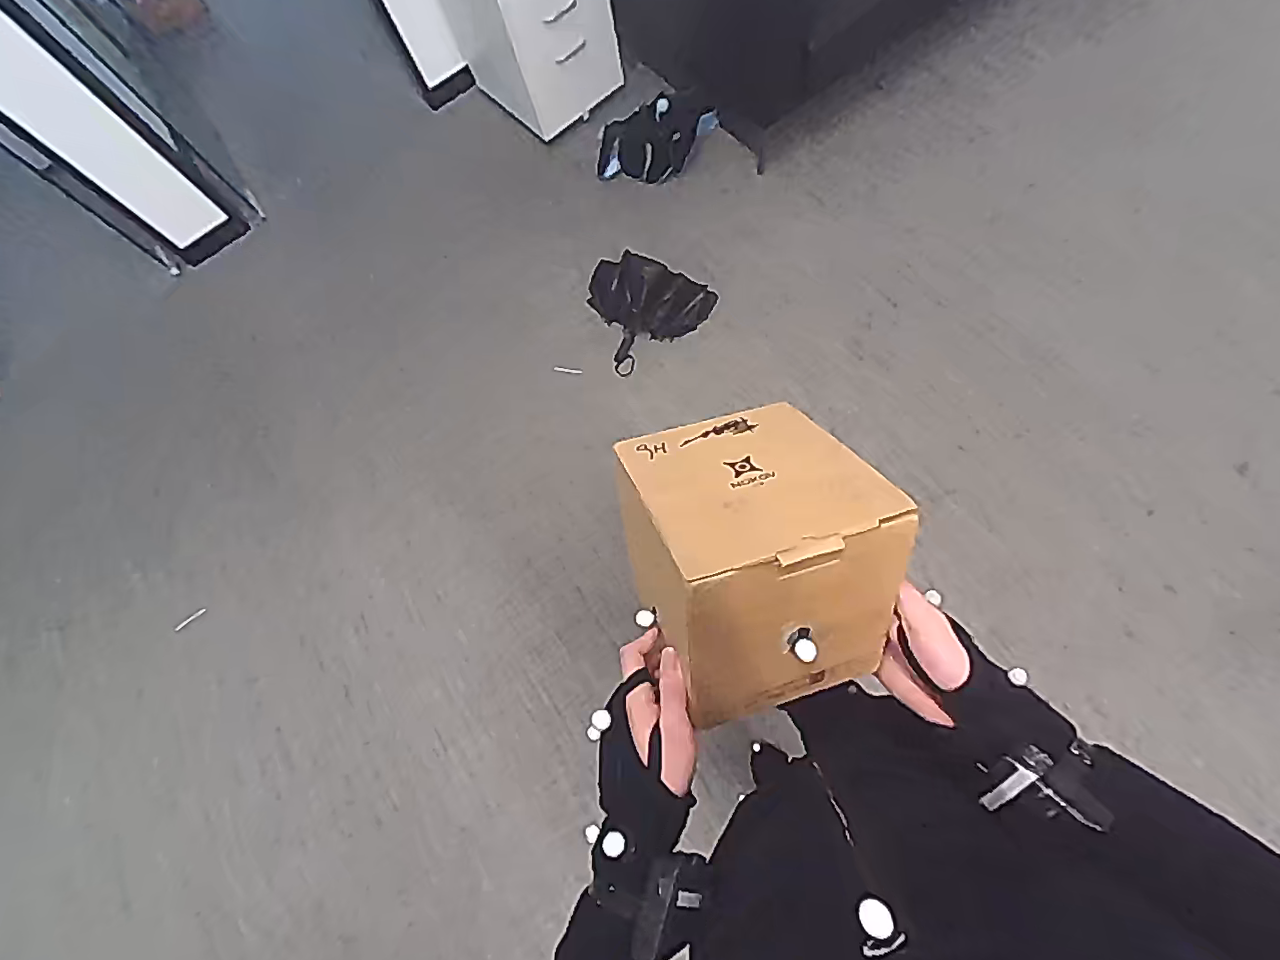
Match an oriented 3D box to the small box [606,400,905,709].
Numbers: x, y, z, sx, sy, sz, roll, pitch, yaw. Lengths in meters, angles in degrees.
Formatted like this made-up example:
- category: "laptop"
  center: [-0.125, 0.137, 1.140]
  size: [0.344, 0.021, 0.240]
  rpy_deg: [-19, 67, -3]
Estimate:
- category: "small box"
  center: [0.078, 0.061, 0.445]
  size: [0.168, 0.176, 0.179]
  rpy_deg: [-13, 37, -11]
